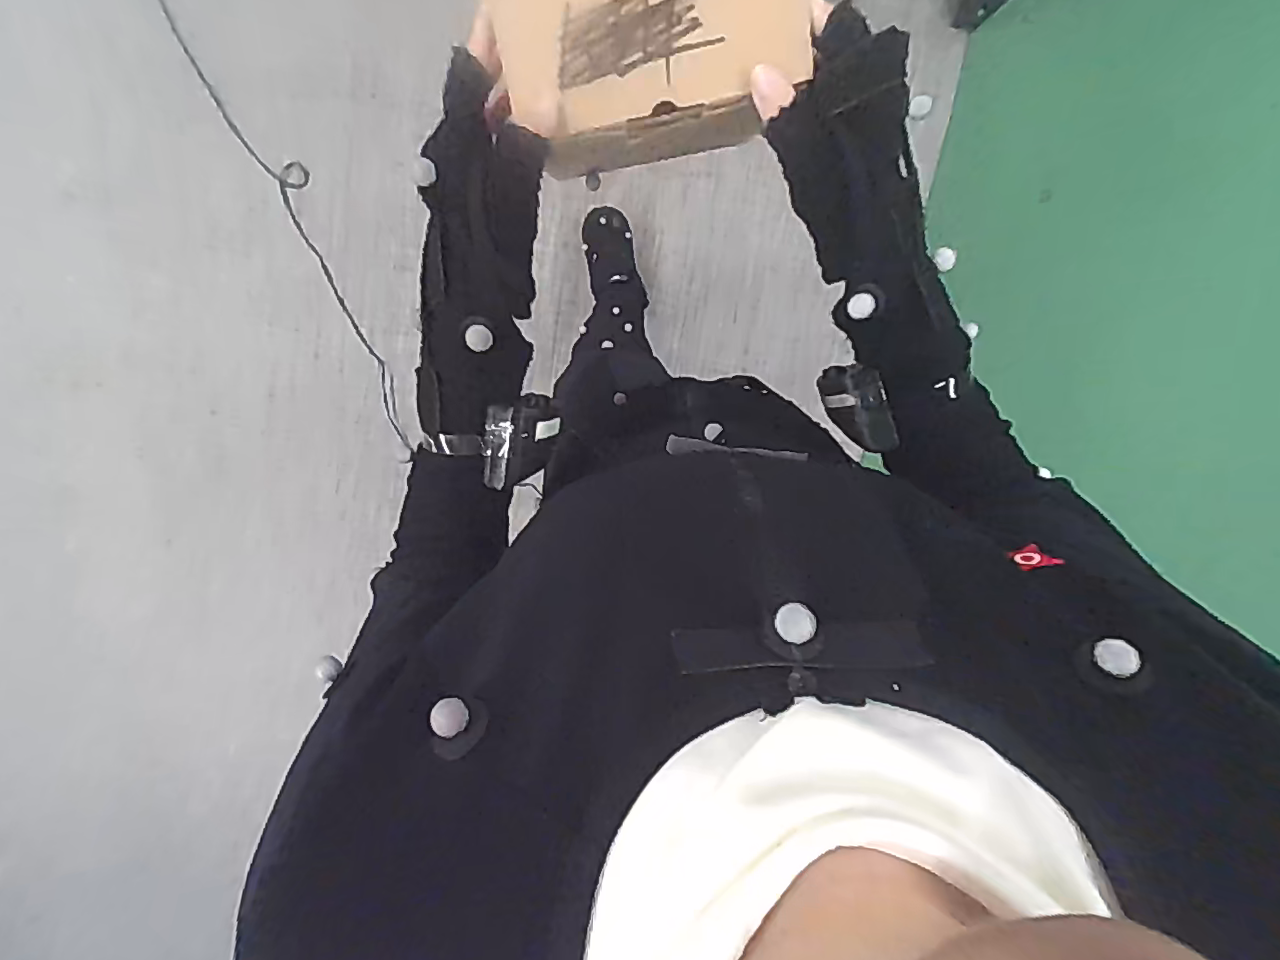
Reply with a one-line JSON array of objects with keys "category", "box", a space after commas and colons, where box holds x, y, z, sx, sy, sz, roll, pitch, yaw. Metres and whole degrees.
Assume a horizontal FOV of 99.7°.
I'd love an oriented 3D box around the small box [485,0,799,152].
[{"category": "small box", "box": [-0.007, -0.323, 0.339, 0.168, 0.176, 0.179, -10, 112, 3]}]
